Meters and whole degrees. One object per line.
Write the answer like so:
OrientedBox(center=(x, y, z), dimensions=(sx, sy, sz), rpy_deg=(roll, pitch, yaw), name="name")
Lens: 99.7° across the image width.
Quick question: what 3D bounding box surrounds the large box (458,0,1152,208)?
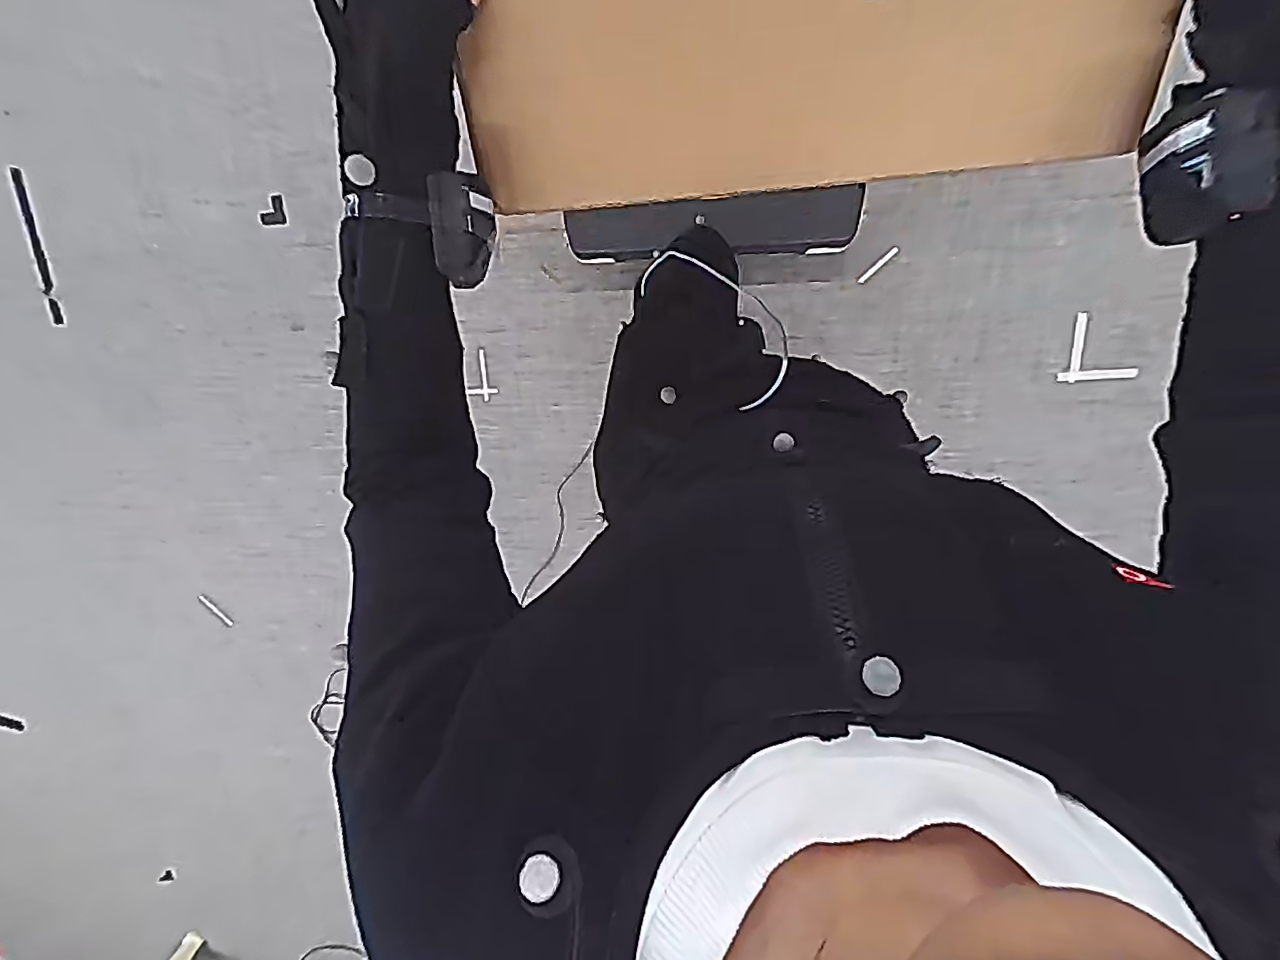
OrientedBox(center=(0.094, -0.410, 0.414), dimensions=(0.408, 0.320, 0.320), rpy_deg=(-2, 120, 8), name="large box")
